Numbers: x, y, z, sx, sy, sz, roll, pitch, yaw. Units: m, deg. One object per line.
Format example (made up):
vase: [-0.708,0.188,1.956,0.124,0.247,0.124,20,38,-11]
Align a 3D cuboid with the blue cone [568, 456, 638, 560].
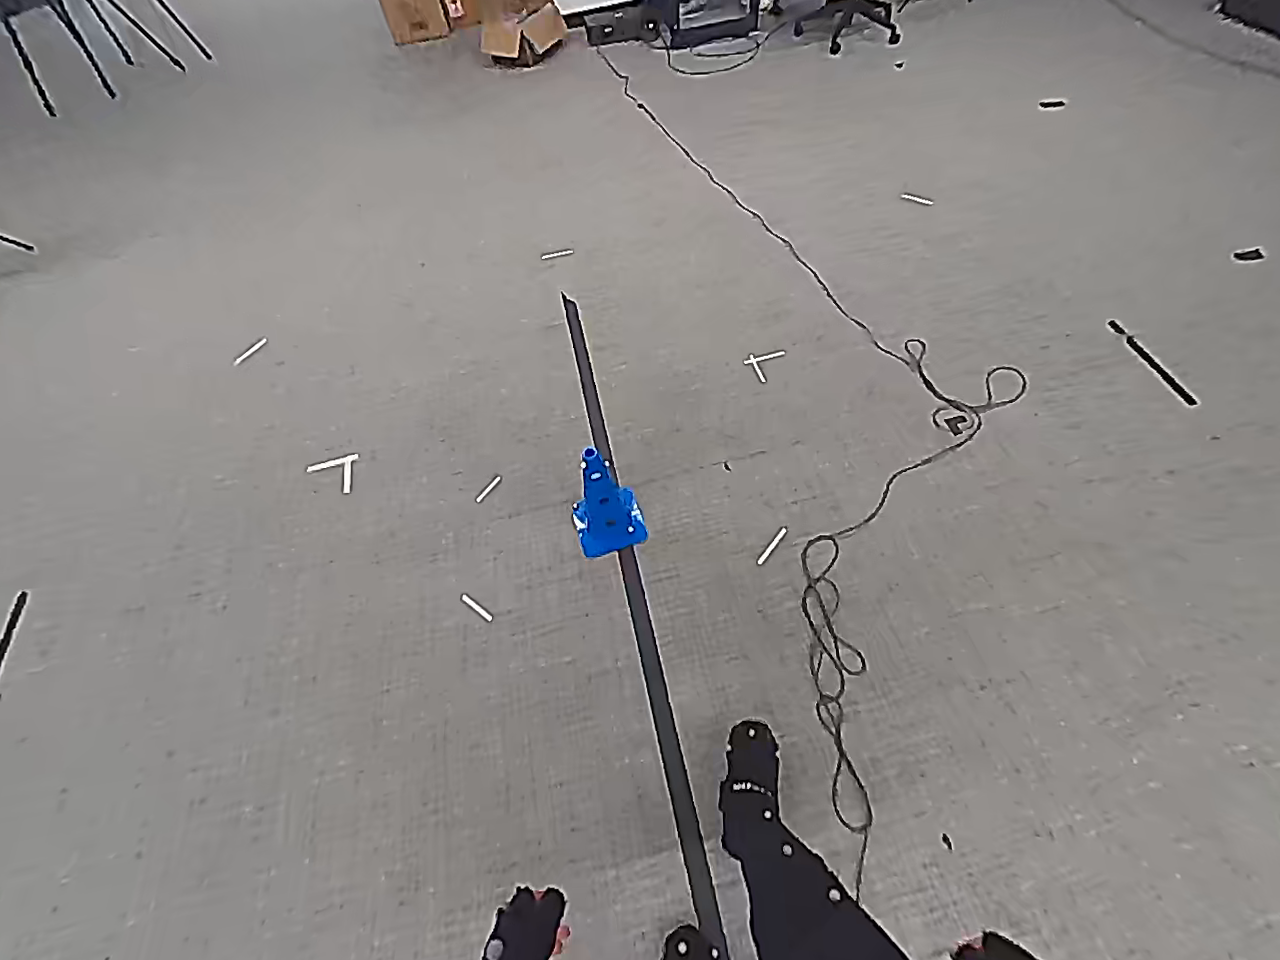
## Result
blue cone: [-0.127,0.050,1.503,0.192,0.380,0.193,-17,56,-5]
